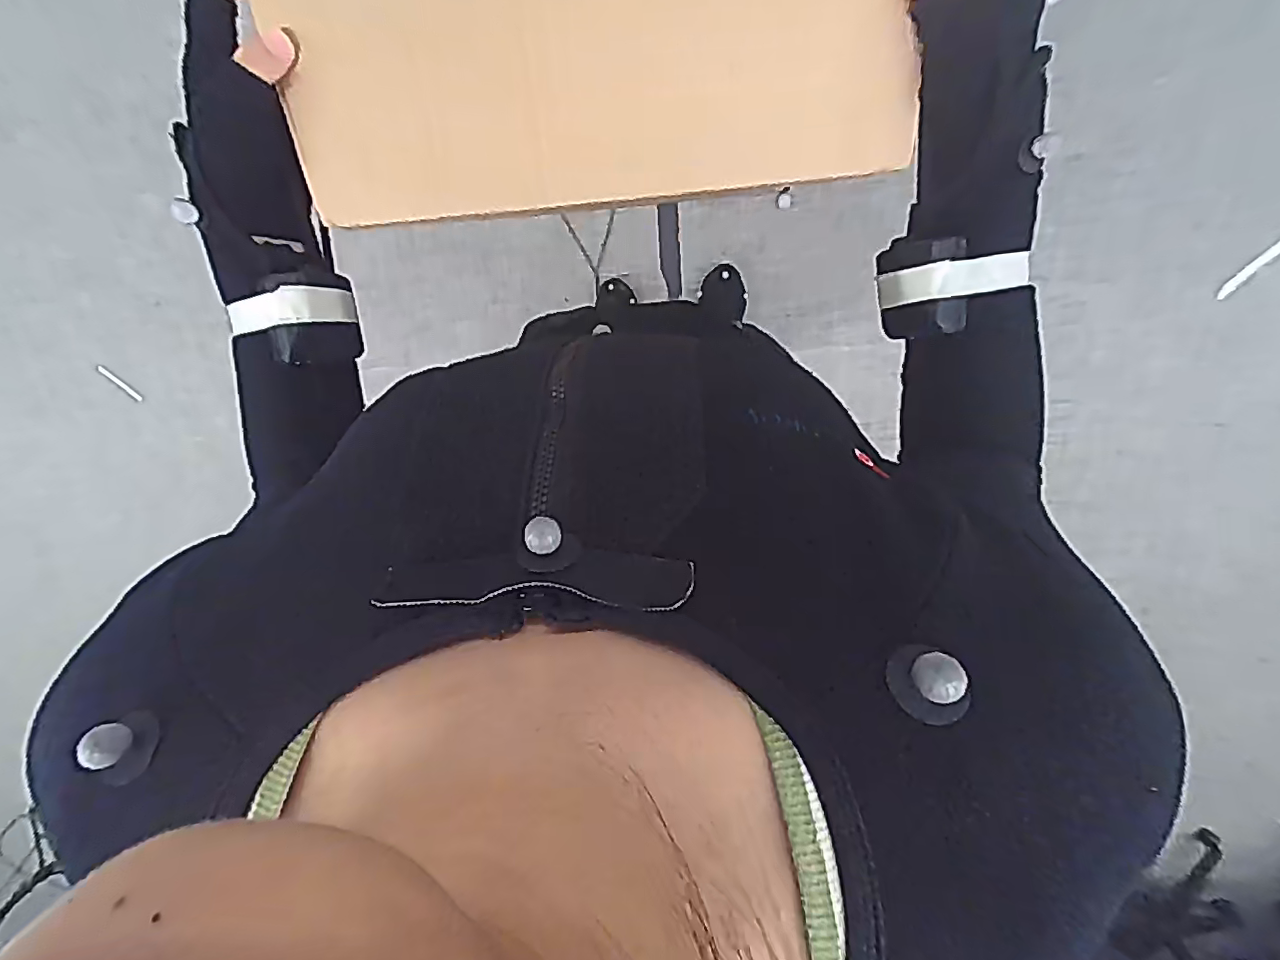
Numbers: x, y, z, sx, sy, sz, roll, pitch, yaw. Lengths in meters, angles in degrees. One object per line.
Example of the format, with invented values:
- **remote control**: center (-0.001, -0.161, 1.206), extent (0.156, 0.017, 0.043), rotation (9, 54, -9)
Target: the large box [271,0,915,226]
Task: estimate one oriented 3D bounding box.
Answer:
- **large box**: center (-0.028, -0.406, 0.444), extent (0.408, 0.320, 0.320), rotation (-3, 117, 5)
